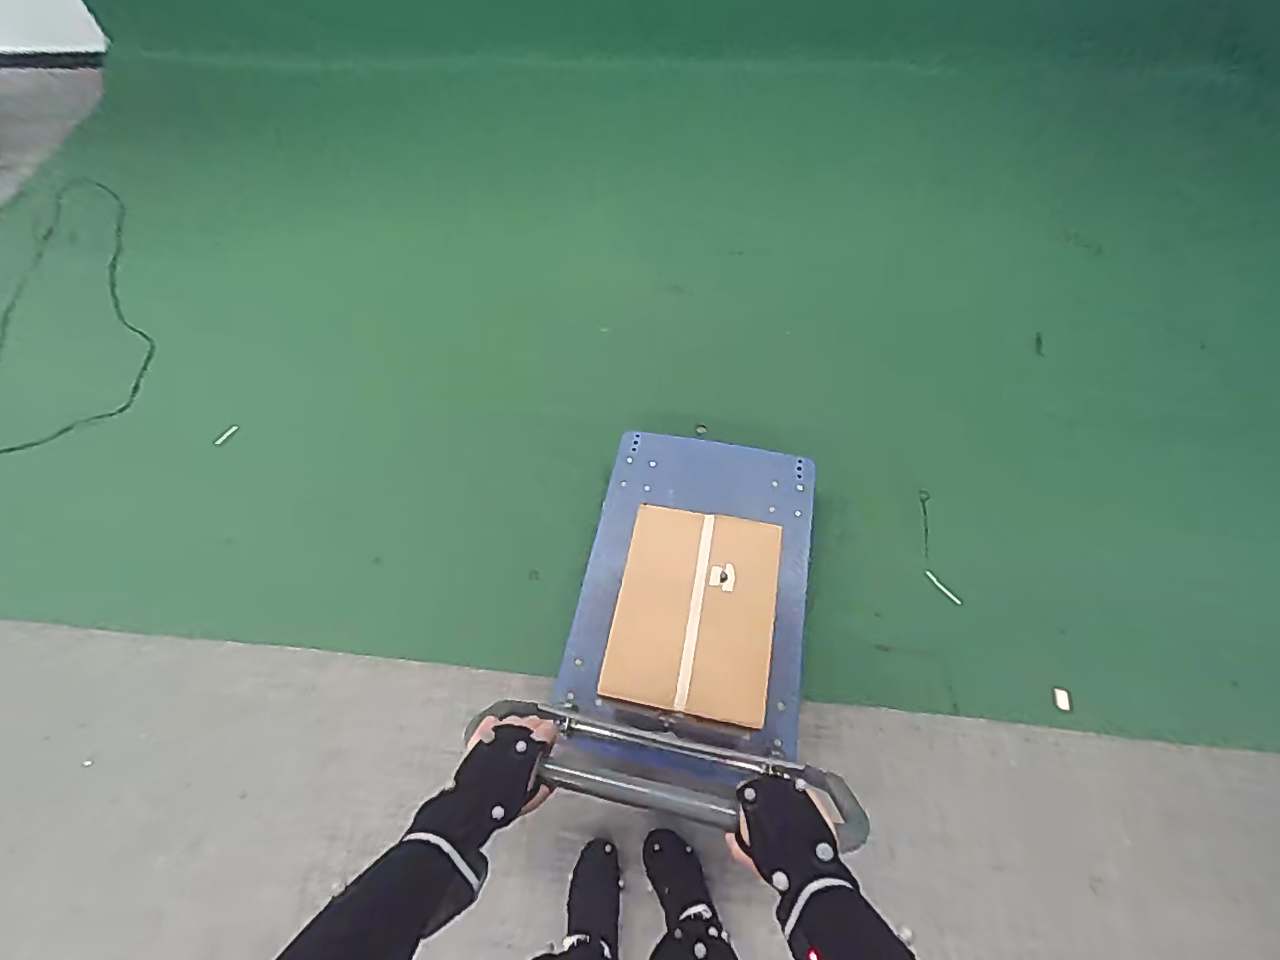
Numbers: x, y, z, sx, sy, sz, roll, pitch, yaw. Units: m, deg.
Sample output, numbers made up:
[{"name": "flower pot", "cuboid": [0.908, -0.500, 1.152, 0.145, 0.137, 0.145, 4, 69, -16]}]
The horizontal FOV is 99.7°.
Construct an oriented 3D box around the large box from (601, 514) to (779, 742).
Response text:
[{"name": "large box", "cuboid": [0.121, 0.340, 1.220, 0.320, 0.320, 0.408, 9, 62, 8]}]
